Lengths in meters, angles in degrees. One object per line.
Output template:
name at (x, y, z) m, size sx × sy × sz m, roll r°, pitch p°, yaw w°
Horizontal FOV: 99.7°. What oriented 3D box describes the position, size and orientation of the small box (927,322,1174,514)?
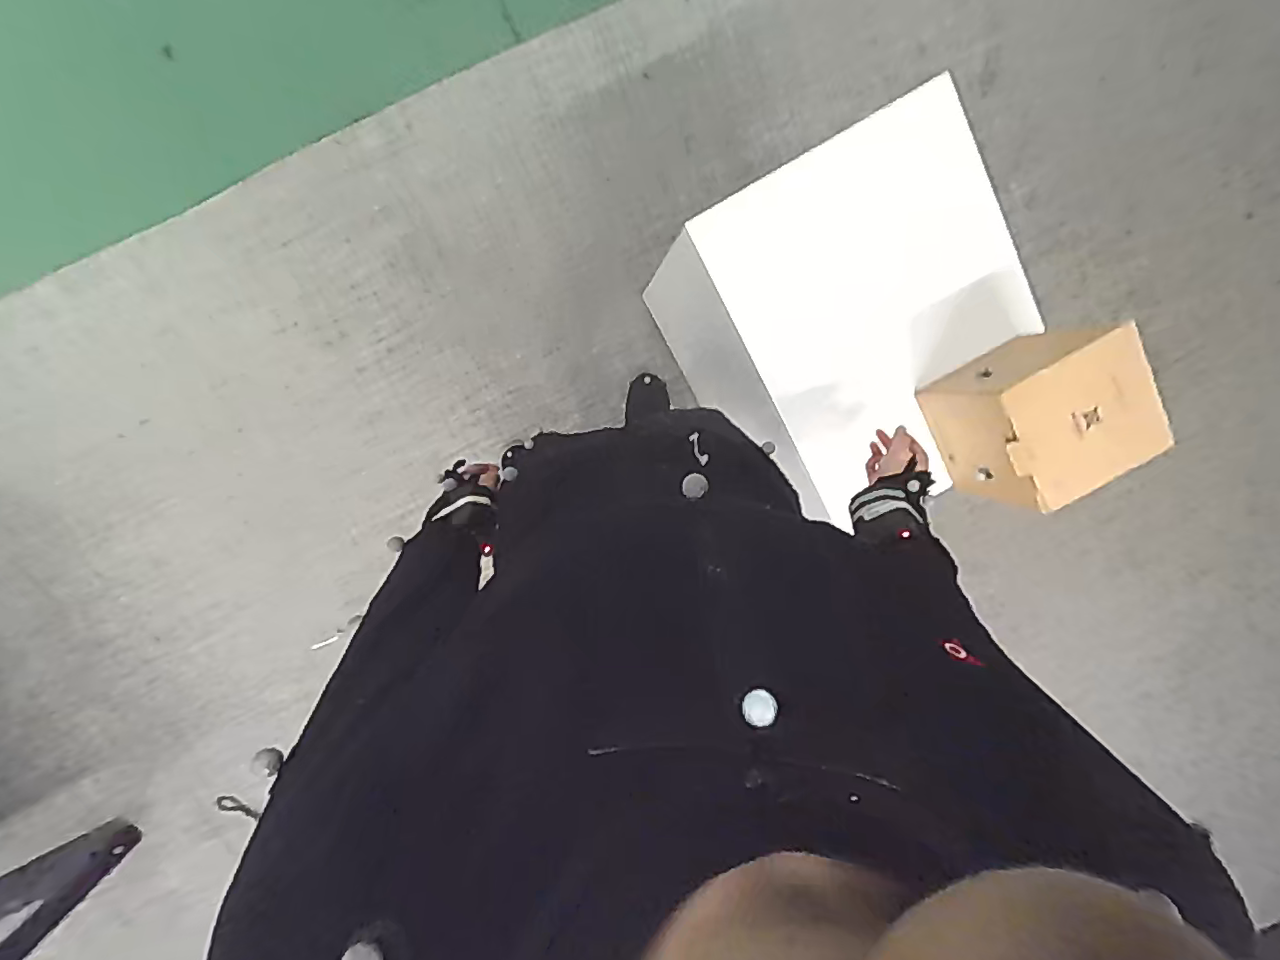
small box at (0.509, -0.080, 0.701) m, size 0.179 × 0.176 × 0.168 m, roll -30°, pitch 101°, yaw -1°
